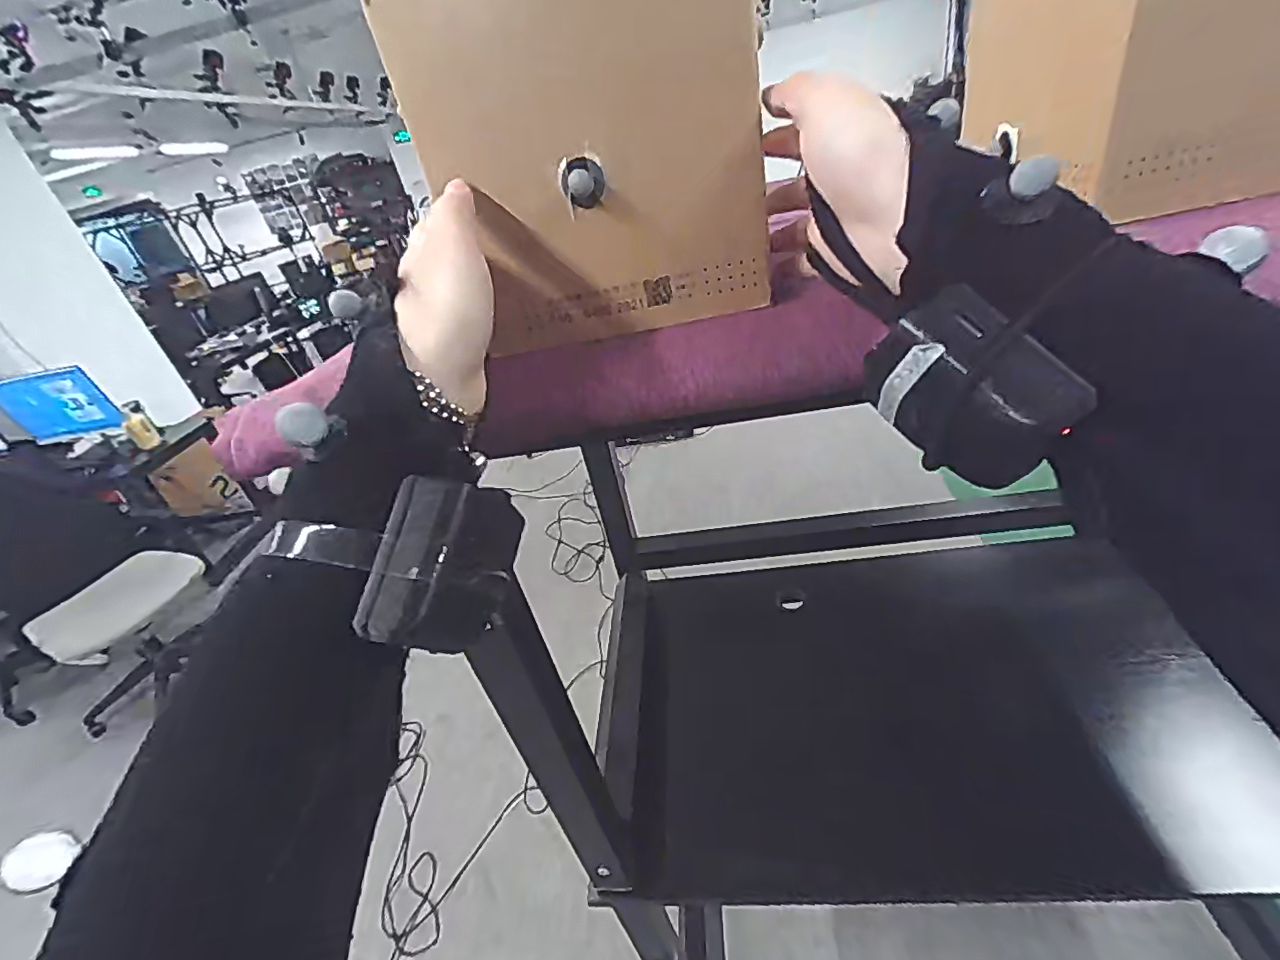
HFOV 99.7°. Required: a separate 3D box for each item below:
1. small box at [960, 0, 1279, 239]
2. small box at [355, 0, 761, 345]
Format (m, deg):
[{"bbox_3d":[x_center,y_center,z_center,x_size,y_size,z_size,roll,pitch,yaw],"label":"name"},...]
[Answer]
[{"bbox_3d":[0.311,-0.254,0.306,0.179,0.176,0.168,-10,32,8],"label":"small box"},{"bbox_3d":[-0.025,-0.191,0.330,0.168,0.176,0.179,-8,33,7],"label":"small box"}]
